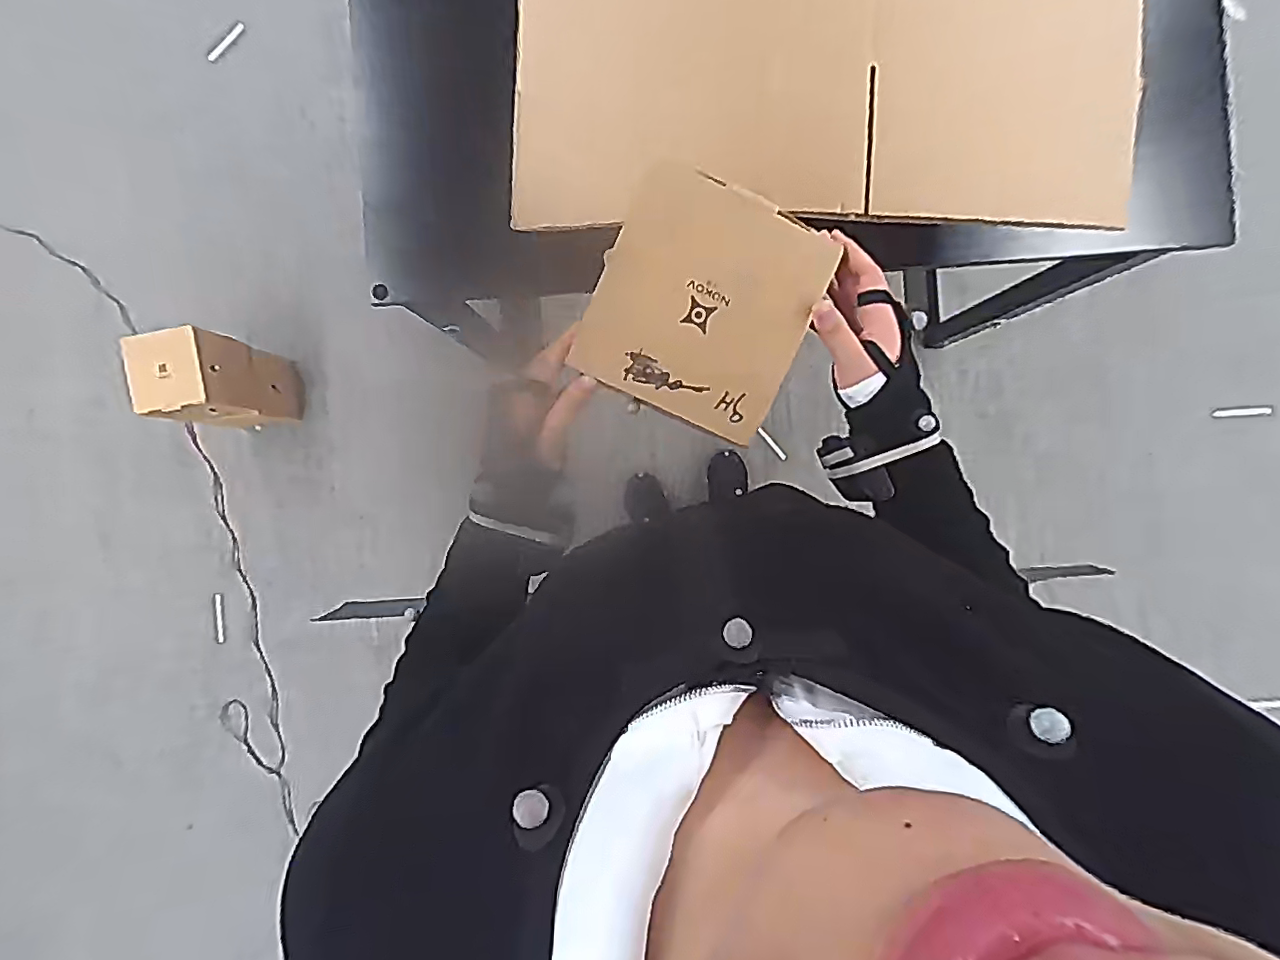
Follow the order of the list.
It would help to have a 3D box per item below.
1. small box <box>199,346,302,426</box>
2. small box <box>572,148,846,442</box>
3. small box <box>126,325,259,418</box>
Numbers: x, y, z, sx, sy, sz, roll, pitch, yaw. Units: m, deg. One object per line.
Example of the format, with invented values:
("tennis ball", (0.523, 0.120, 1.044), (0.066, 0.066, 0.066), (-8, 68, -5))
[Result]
("small box", (-1.038, -0.244, 1.439), (0.168, 0.176, 0.179), (-7, 92, 2))
("small box", (0.050, -0.151, 0.501), (0.168, 0.176, 0.179), (25, 96, -4))
("small box", (-1.044, -0.247, 1.277), (0.168, 0.176, 0.179), (-11, 90, 1))
